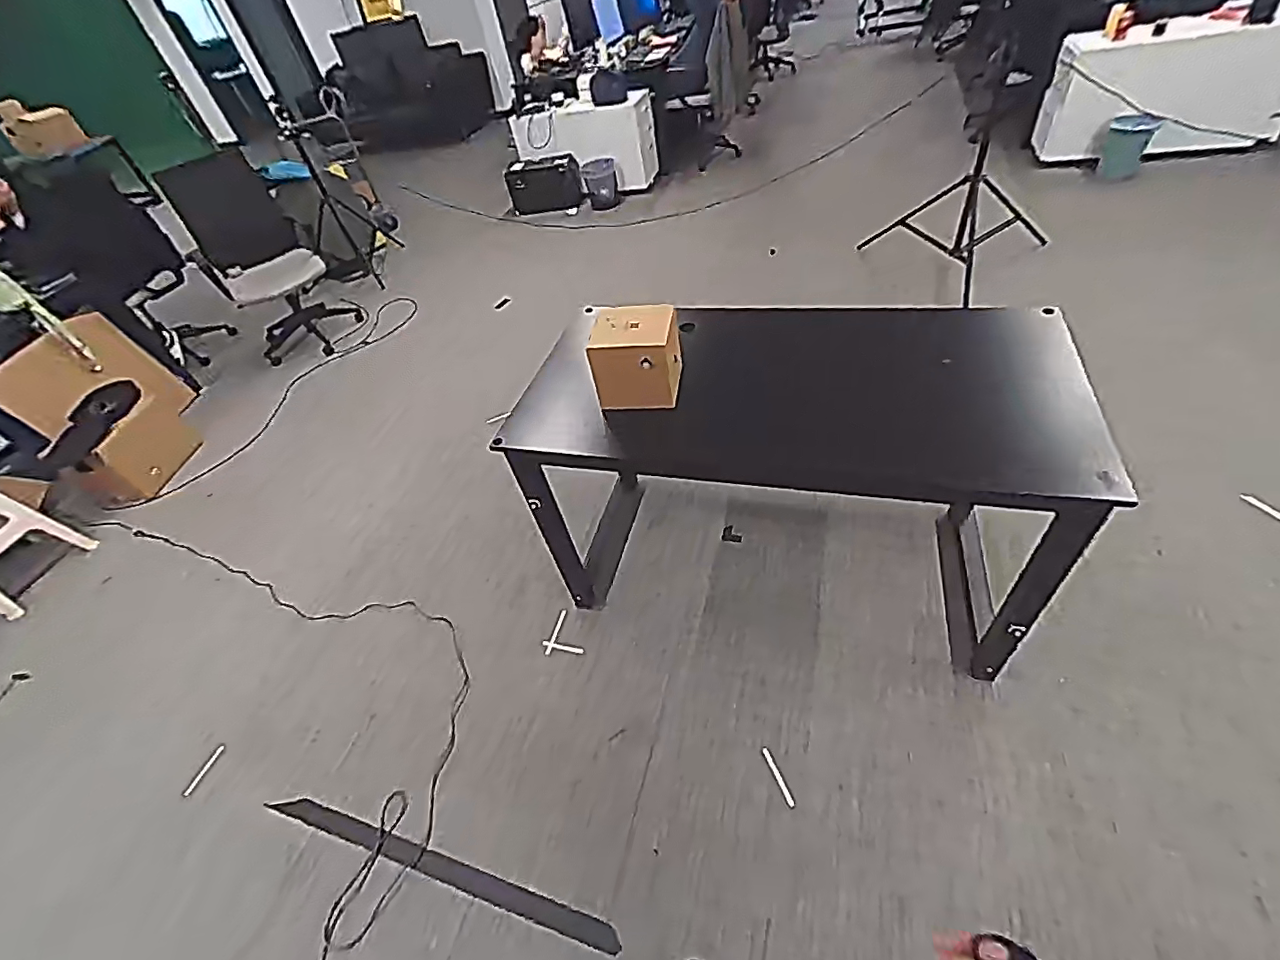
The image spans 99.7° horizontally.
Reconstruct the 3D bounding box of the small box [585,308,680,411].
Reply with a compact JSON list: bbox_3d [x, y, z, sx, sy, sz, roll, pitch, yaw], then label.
[{"bbox_3d":[-0.008,-0.271,1.235,0.179,0.176,0.168,0,47,13],"label":"small box"}]
